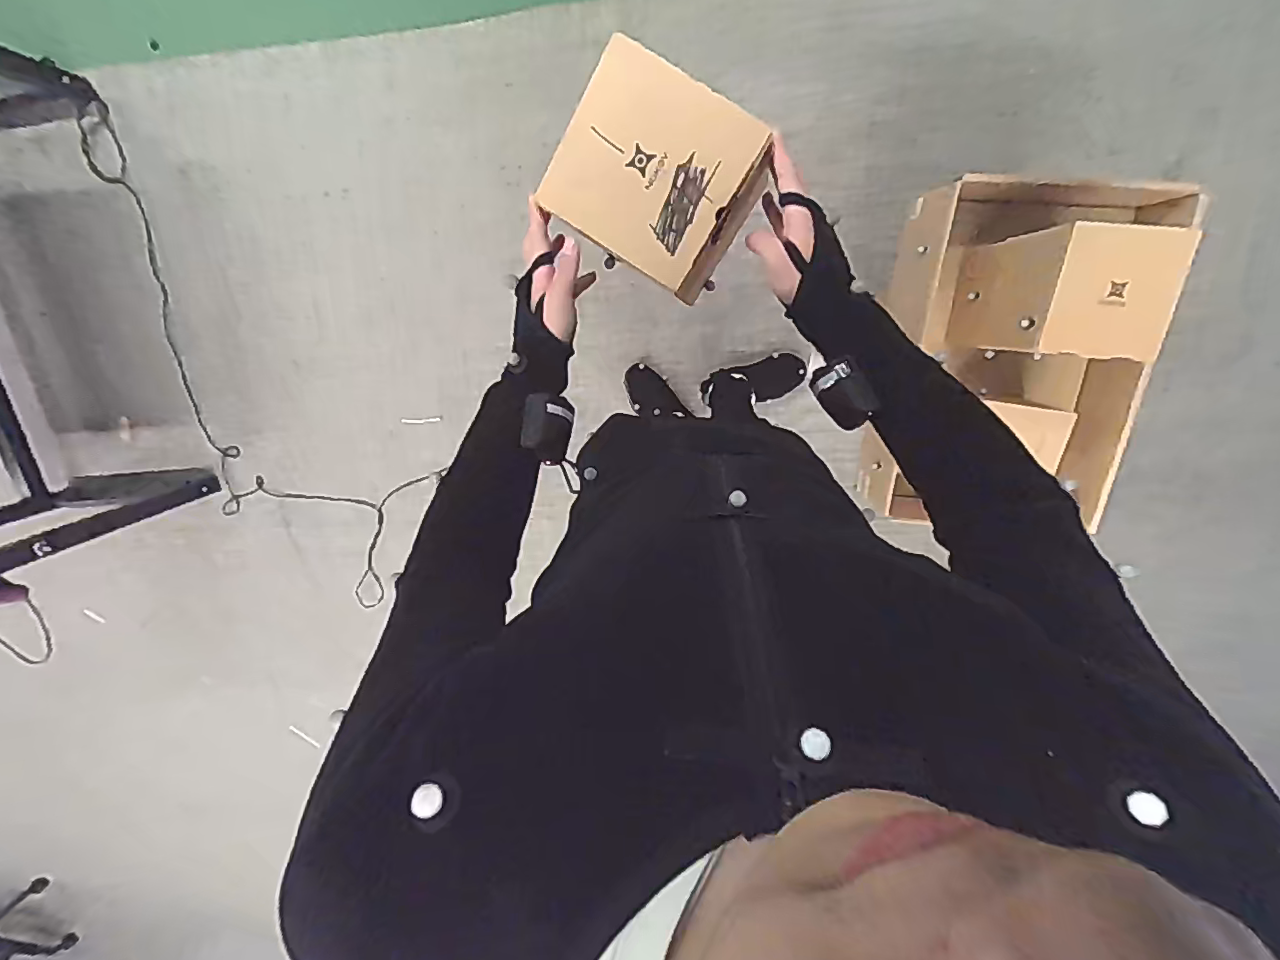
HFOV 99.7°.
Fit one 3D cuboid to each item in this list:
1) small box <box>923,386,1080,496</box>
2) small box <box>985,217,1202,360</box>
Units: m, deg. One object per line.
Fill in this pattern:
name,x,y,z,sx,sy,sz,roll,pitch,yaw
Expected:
small box,0.682,-0.084,1.050,0.179,0.176,0.168,10,109,4
small box,0.661,-0.286,0.818,0.168,0.176,0.179,6,110,5
